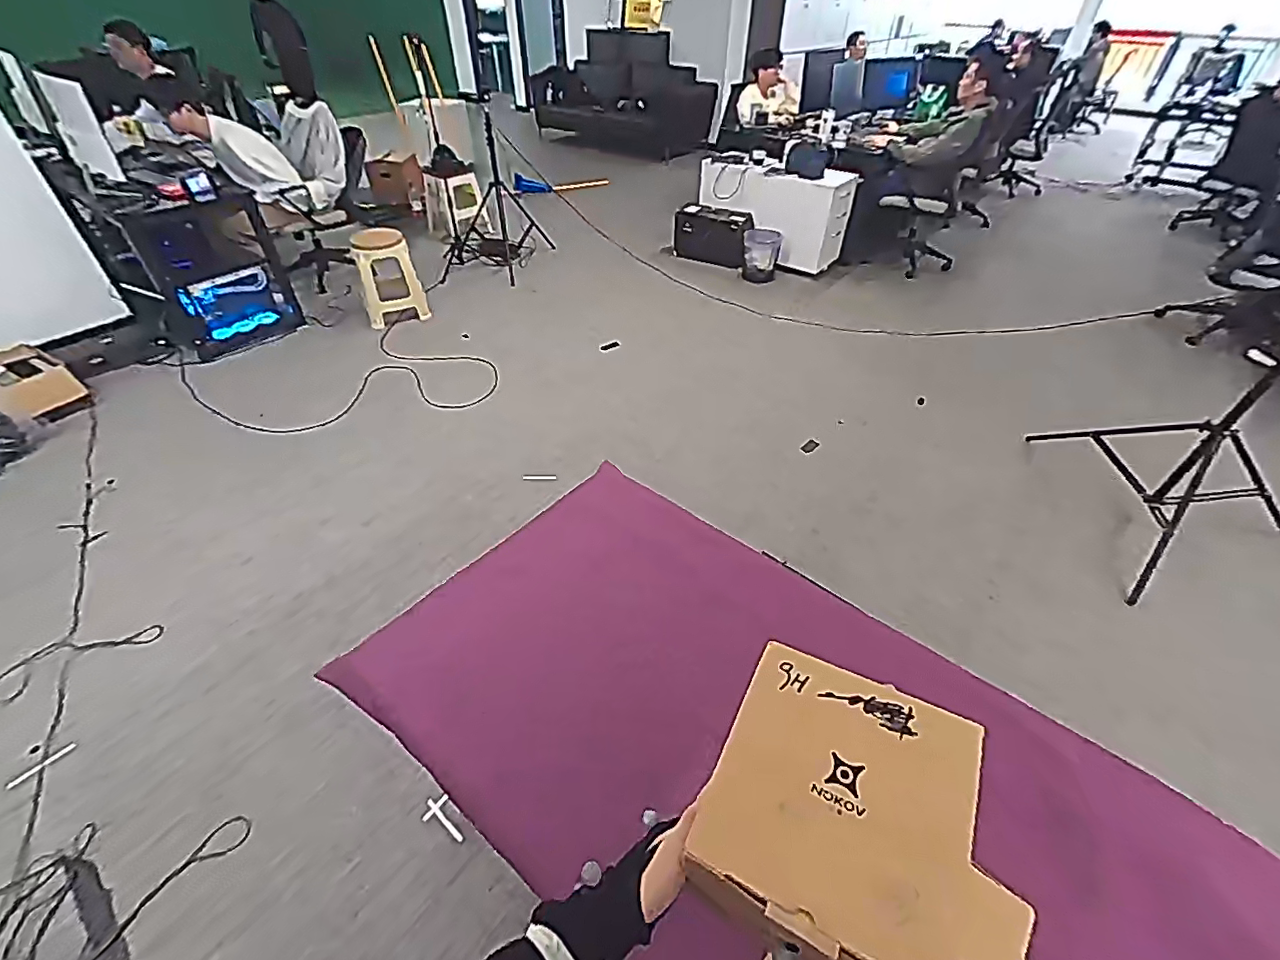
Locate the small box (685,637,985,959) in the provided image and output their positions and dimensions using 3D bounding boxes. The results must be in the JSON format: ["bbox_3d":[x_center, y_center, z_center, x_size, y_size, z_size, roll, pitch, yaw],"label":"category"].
[{"bbox_3d":[0.150,0.268,0.435,0.168,0.176,0.179,18,50,24],"label":"small box"}]

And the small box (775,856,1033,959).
[{"bbox_3d":[0.253,0.467,0.551,0.168,0.176,0.179,29,49,28],"label":"small box"}]
